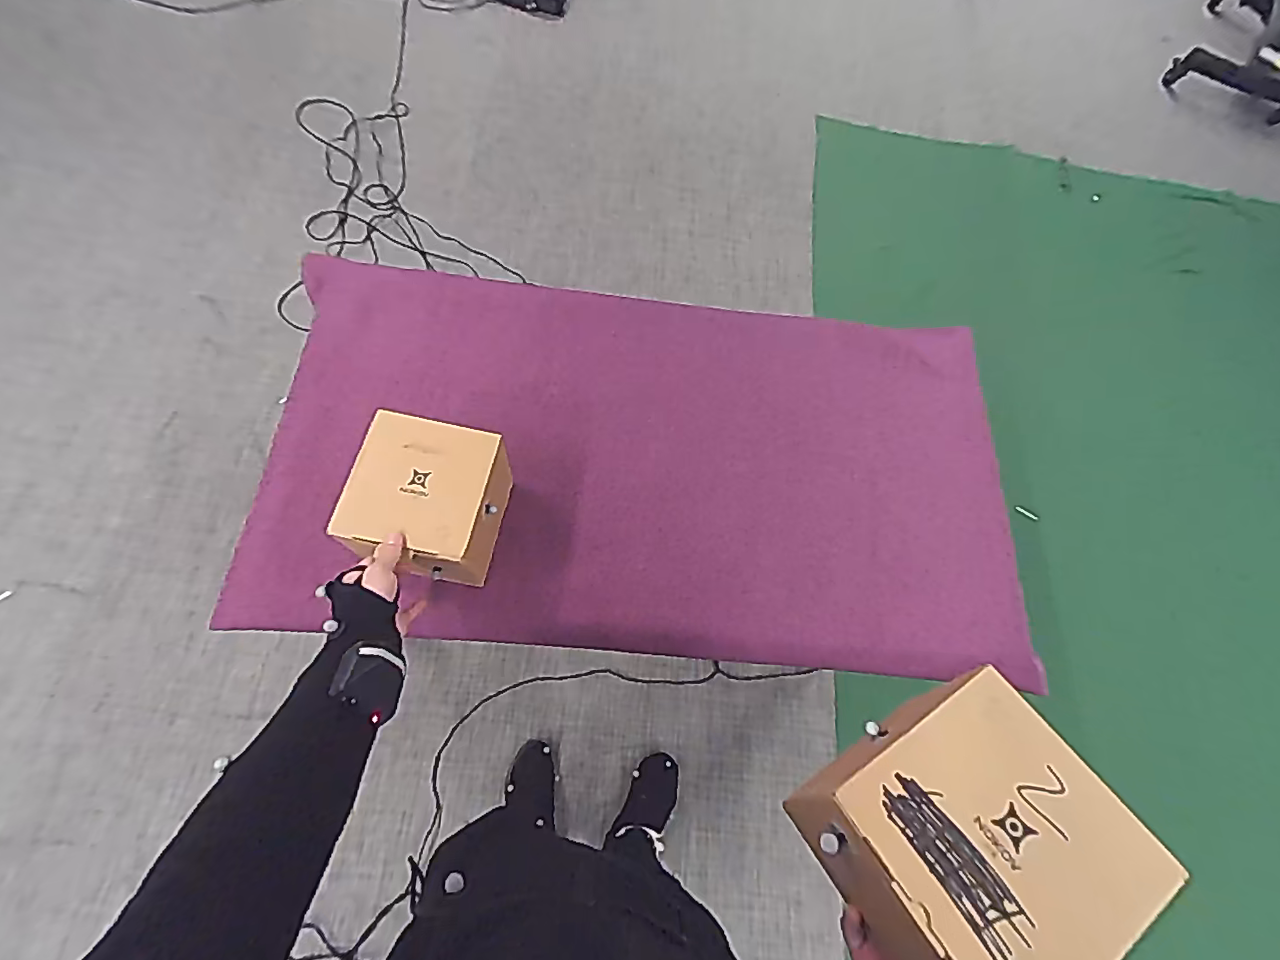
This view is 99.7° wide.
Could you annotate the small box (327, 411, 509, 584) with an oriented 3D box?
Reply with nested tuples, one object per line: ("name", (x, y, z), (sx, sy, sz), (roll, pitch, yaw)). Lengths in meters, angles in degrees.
("small box", (-0.289, 0.034, 0.753), (0.168, 0.176, 0.179), (13, 66, -2))
